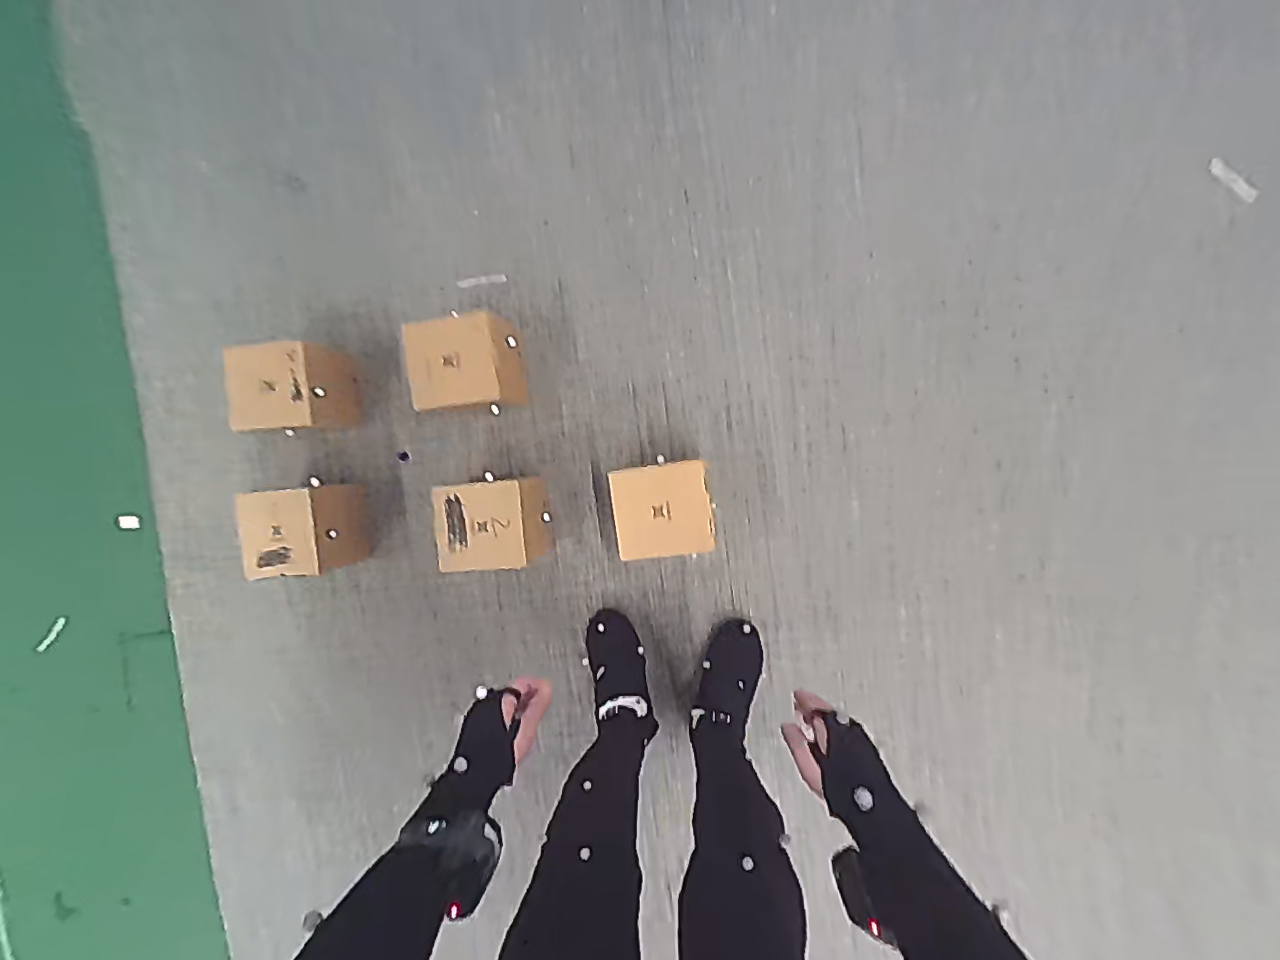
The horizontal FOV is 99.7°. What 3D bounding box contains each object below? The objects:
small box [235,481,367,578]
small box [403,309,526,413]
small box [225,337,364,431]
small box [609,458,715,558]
[{"bbox_3d":[-0.702,0.098,1.139,0.168,0.176,0.179,-5,92,7],"label":"small box"},{"bbox_3d":[-0.337,-0.227,1.075,0.179,0.176,0.168,-6,92,8],"label":"small box"},{"bbox_3d":[-0.709,-0.191,1.123,0.179,0.176,0.168,-3,93,8],"label":"small box"},{"bbox_3d":[0.048,0.049,1.045,0.179,0.176,0.168,-8,92,7],"label":"small box"}]
